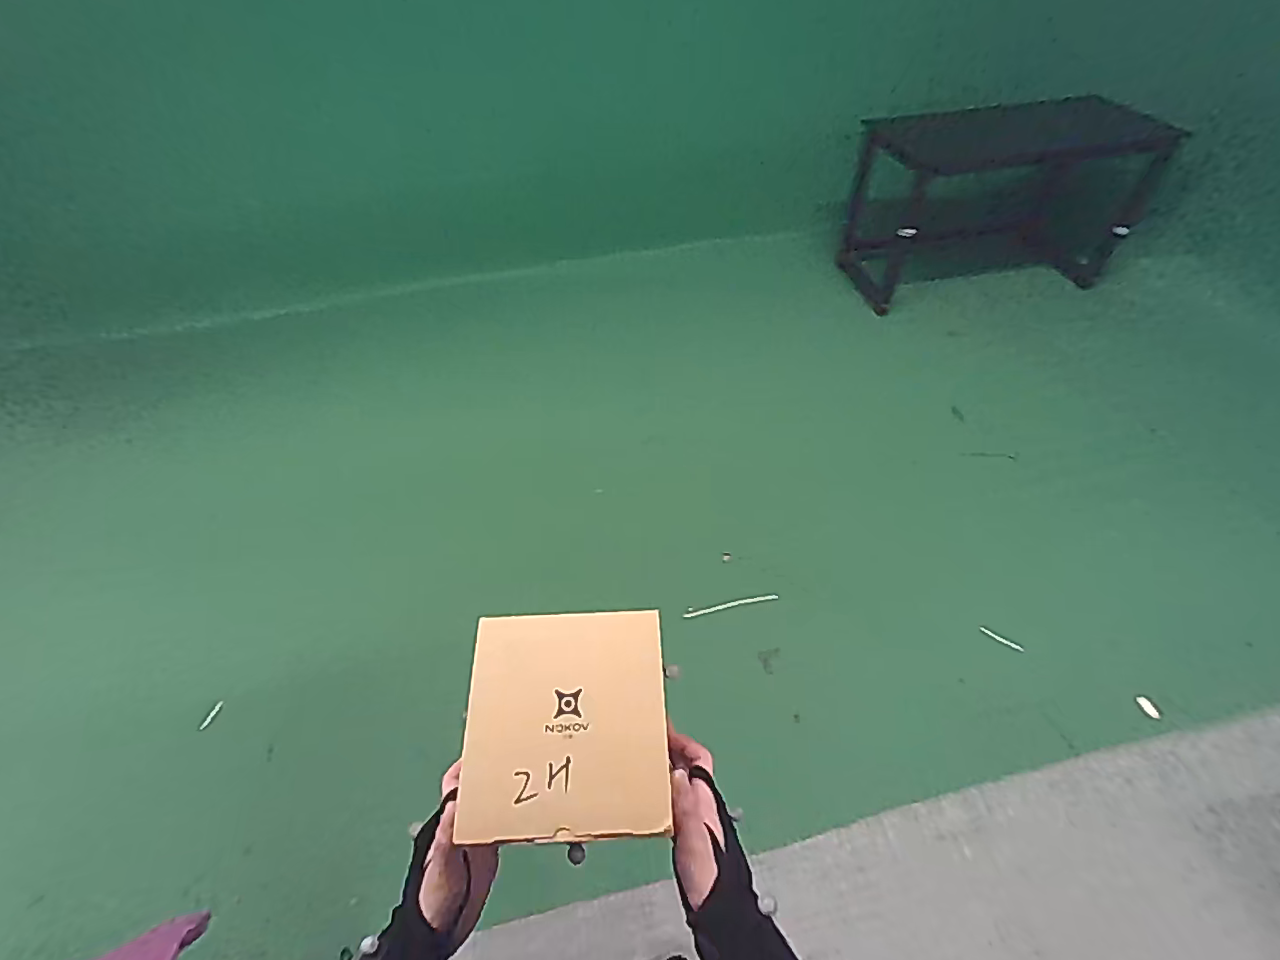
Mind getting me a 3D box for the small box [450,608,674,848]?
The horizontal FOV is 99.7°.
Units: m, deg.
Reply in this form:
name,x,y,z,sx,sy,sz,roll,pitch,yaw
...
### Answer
name,x,y,z,sx,sy,sz,roll,pitch,yaw
small box,-0.058,0.234,0.503,0.168,0.176,0.179,-1,55,0
